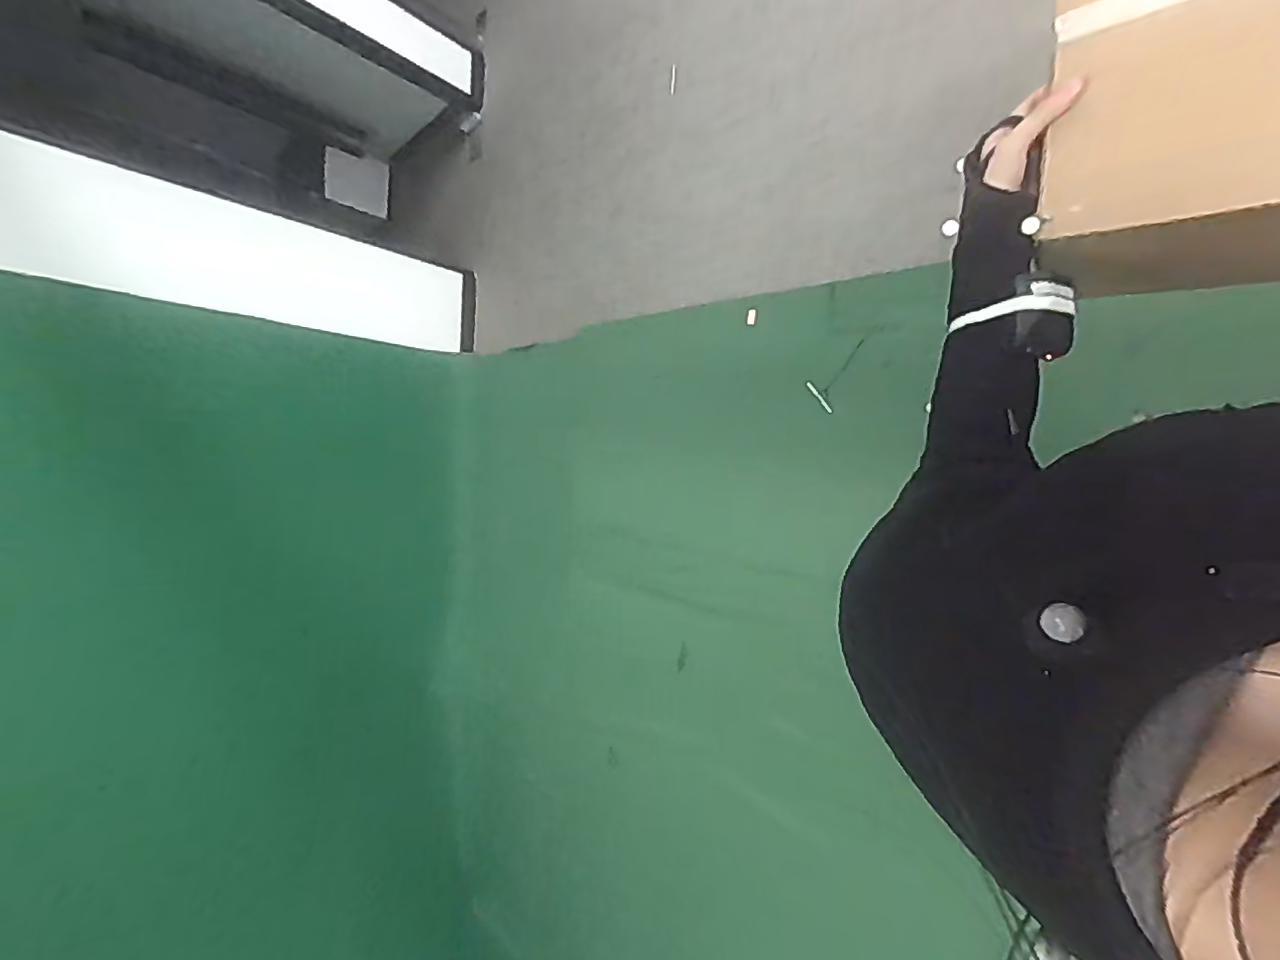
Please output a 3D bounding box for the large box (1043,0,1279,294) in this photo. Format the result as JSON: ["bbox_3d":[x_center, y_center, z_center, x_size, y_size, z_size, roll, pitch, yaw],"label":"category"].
[{"bbox_3d":[0.589,-0.357,0.432,0.408,0.320,0.320,5,97,38],"label":"large box"}]
